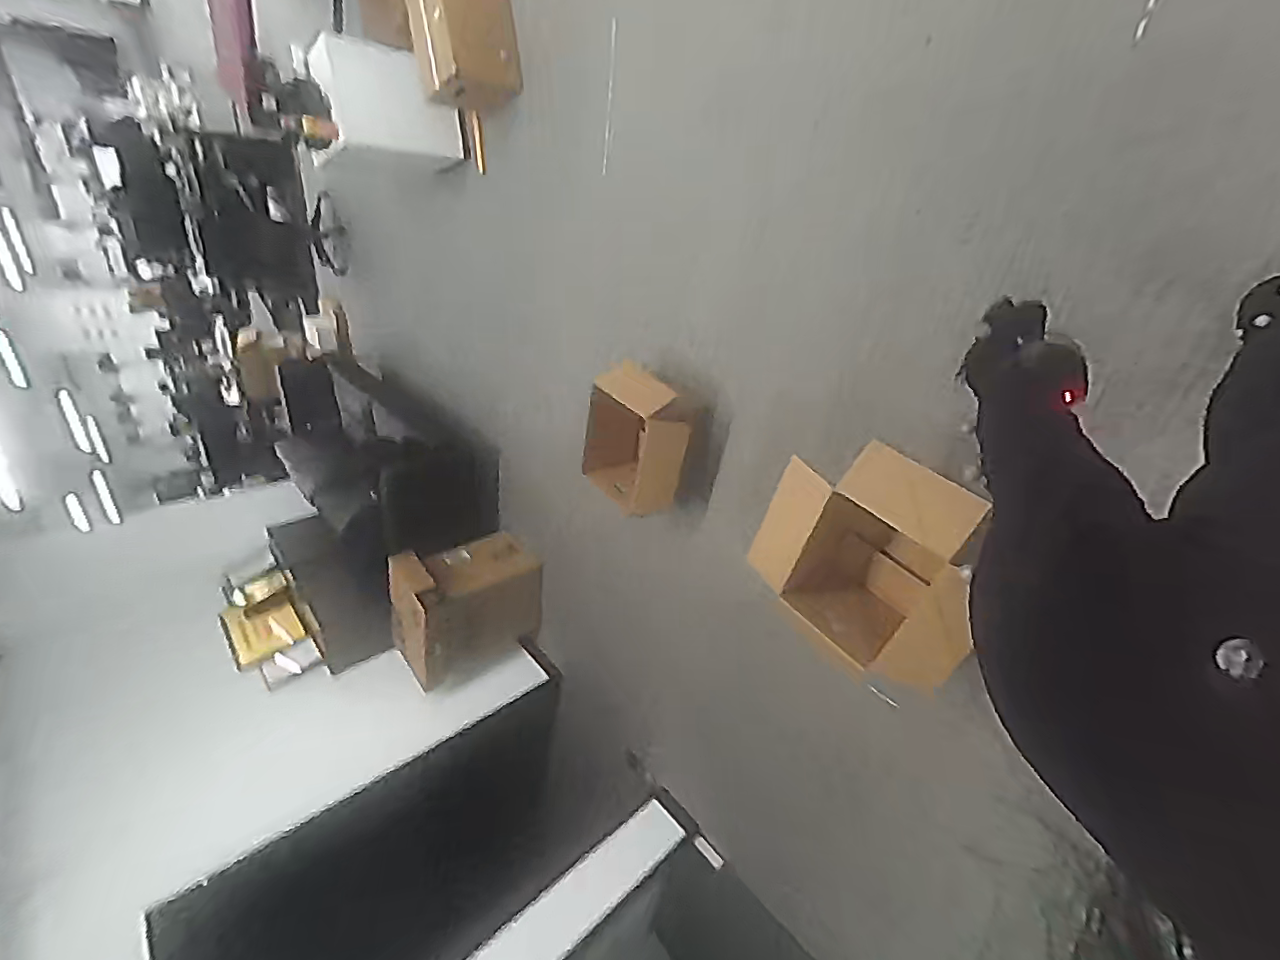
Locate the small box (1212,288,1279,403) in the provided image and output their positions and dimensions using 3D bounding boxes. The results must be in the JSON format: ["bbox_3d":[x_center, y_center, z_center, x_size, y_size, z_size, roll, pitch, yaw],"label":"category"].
[{"bbox_3d":[1.121,-0.226,0.900,0.179,0.176,0.168,-134,34,-54],"label":"small box"}]
